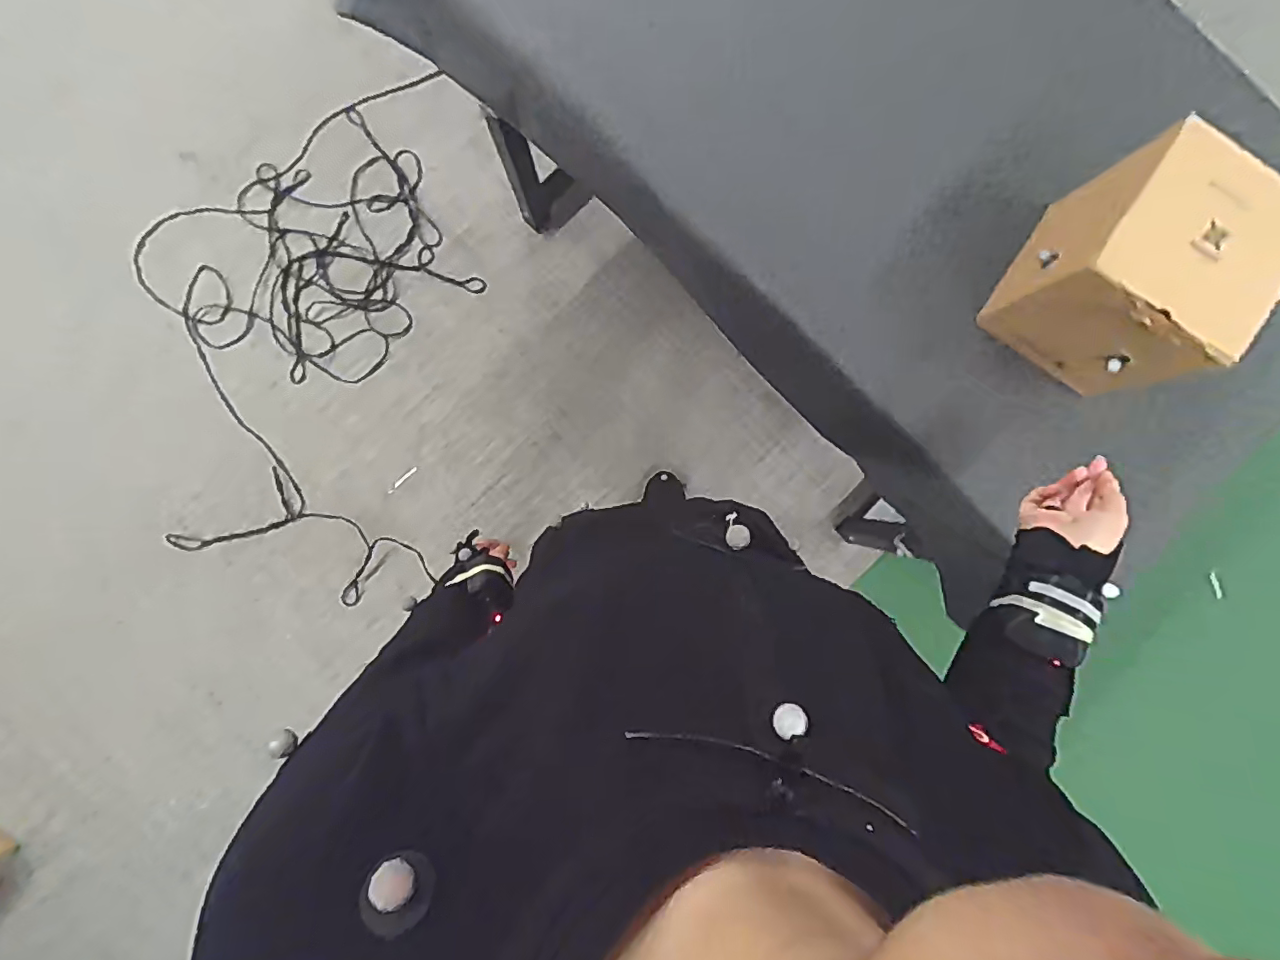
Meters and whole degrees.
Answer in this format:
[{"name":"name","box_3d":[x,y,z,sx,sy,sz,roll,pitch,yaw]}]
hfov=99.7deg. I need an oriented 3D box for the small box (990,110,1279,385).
[{"name":"small box","box_3d":[0.521,-0.224,0.574,0.168,0.176,0.179,33,87,-2]}]
